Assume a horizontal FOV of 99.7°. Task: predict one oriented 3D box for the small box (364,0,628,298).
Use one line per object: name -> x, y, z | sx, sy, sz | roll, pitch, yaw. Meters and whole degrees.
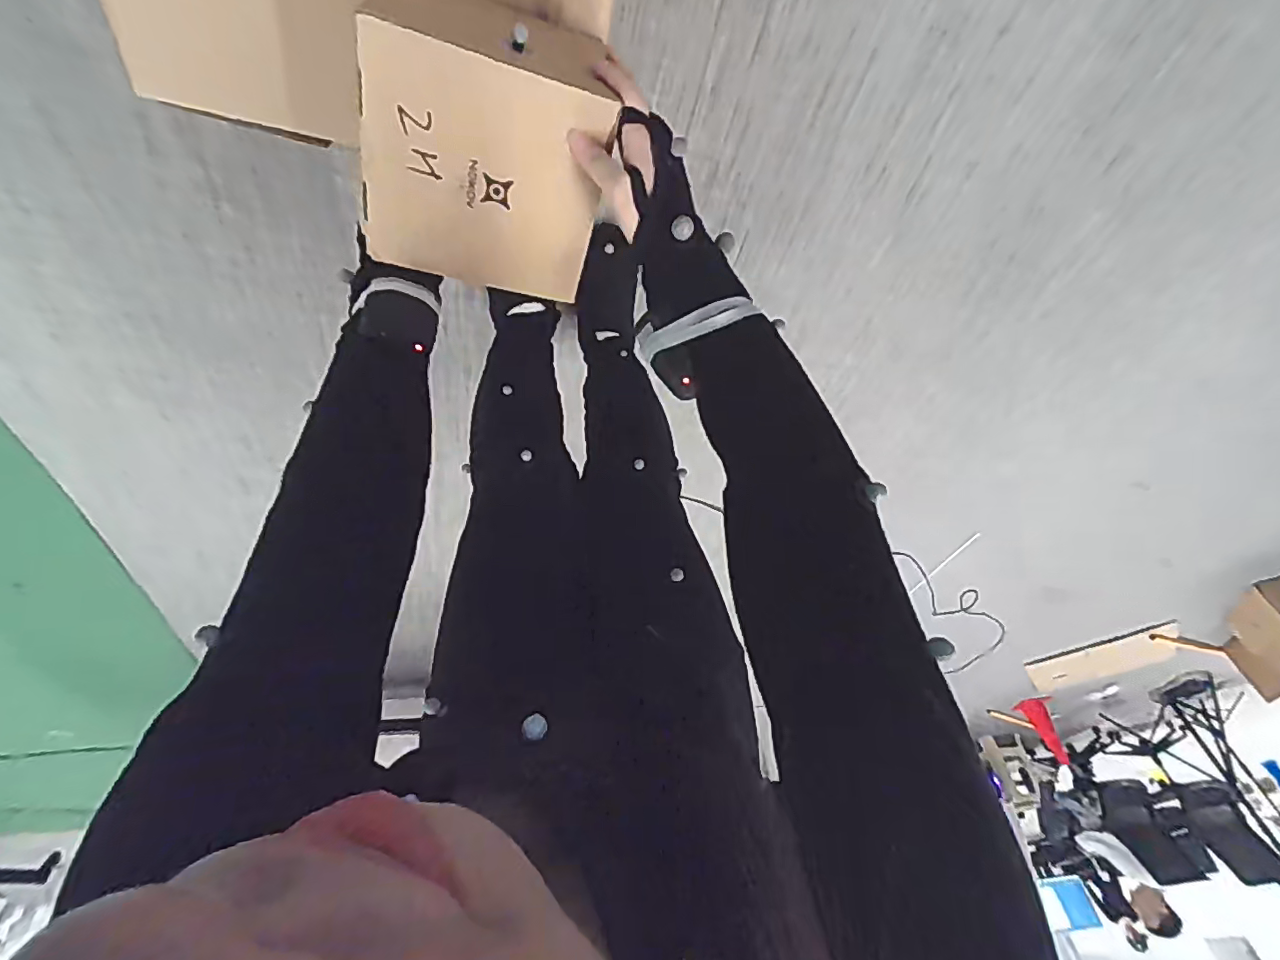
small box -> -0.123, -0.290, 0.464 | 0.179, 0.176, 0.168 | 8, 138, -18
